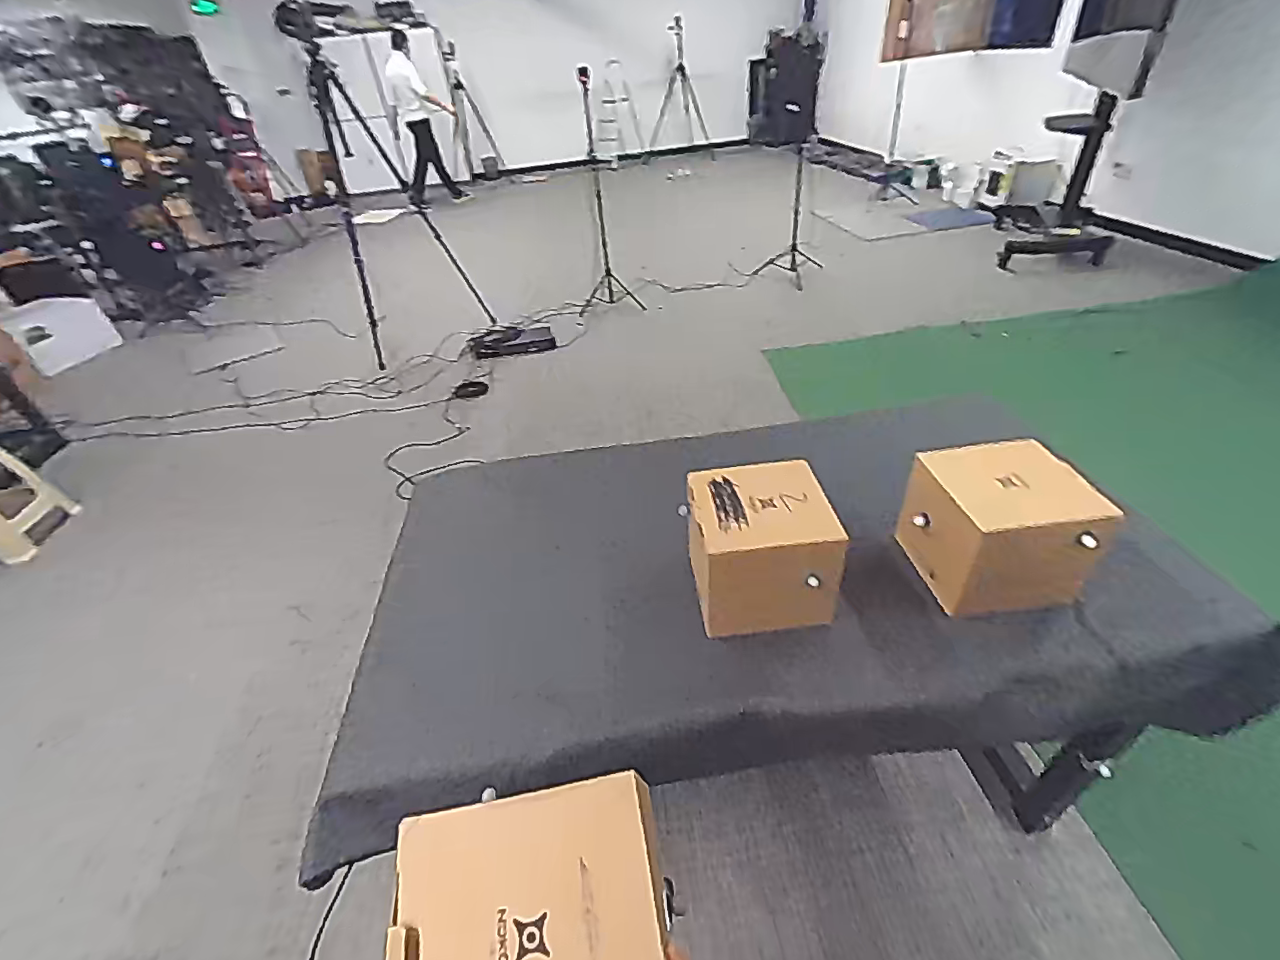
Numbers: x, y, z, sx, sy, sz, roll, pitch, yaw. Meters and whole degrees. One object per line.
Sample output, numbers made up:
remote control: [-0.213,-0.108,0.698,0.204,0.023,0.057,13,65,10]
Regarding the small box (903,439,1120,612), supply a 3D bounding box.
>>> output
small box: [0.489,0.065,0.752,0.179,0.176,0.168,-7,38,-1]
